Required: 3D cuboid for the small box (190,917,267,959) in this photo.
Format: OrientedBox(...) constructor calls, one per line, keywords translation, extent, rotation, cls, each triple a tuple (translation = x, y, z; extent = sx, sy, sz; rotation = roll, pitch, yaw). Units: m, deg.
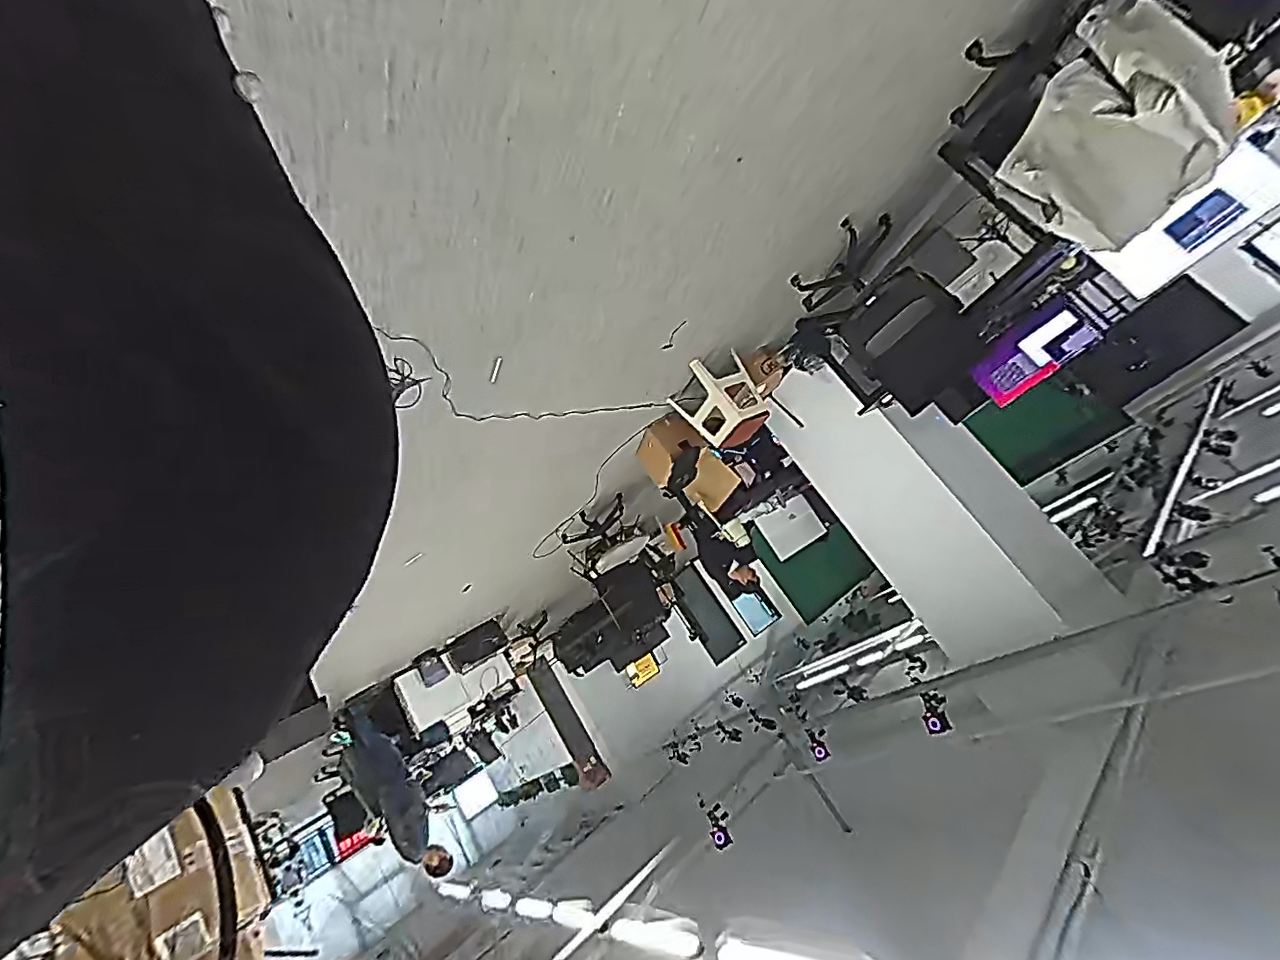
OrientedBox(translation=(-1.325, 1.559, 1.733), extent=(0.179, 0.176, 0.168), rotation=(-22, 163, -34), cls="small box")
